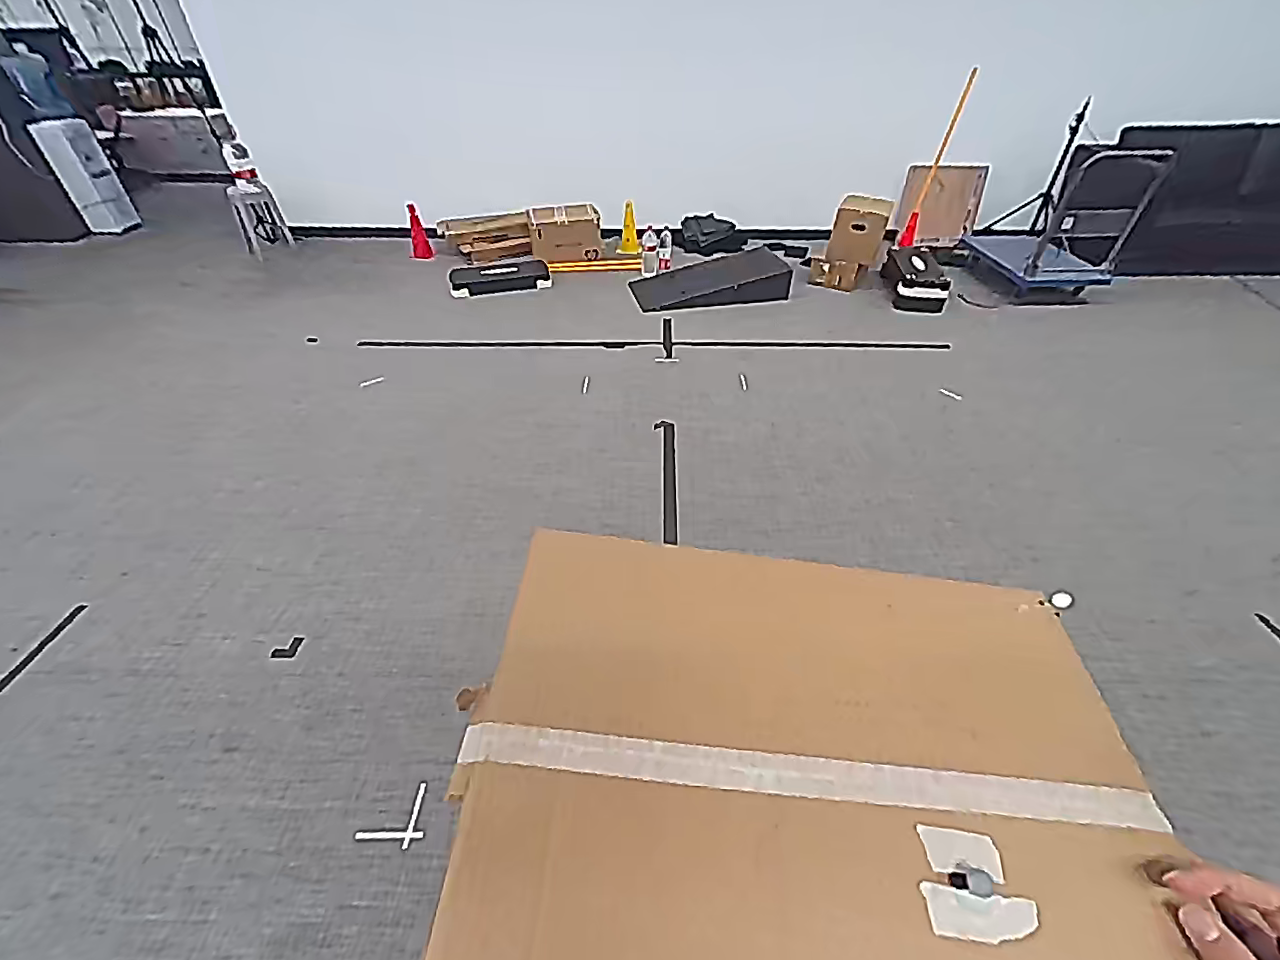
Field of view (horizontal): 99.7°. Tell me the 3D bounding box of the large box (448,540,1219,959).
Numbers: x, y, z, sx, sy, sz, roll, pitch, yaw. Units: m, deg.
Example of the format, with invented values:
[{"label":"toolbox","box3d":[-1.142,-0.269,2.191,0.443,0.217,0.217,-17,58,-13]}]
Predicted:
[{"label":"large box","box3d":[0.091,0.280,0.431,0.408,0.320,0.320,8,47,-3]}]
